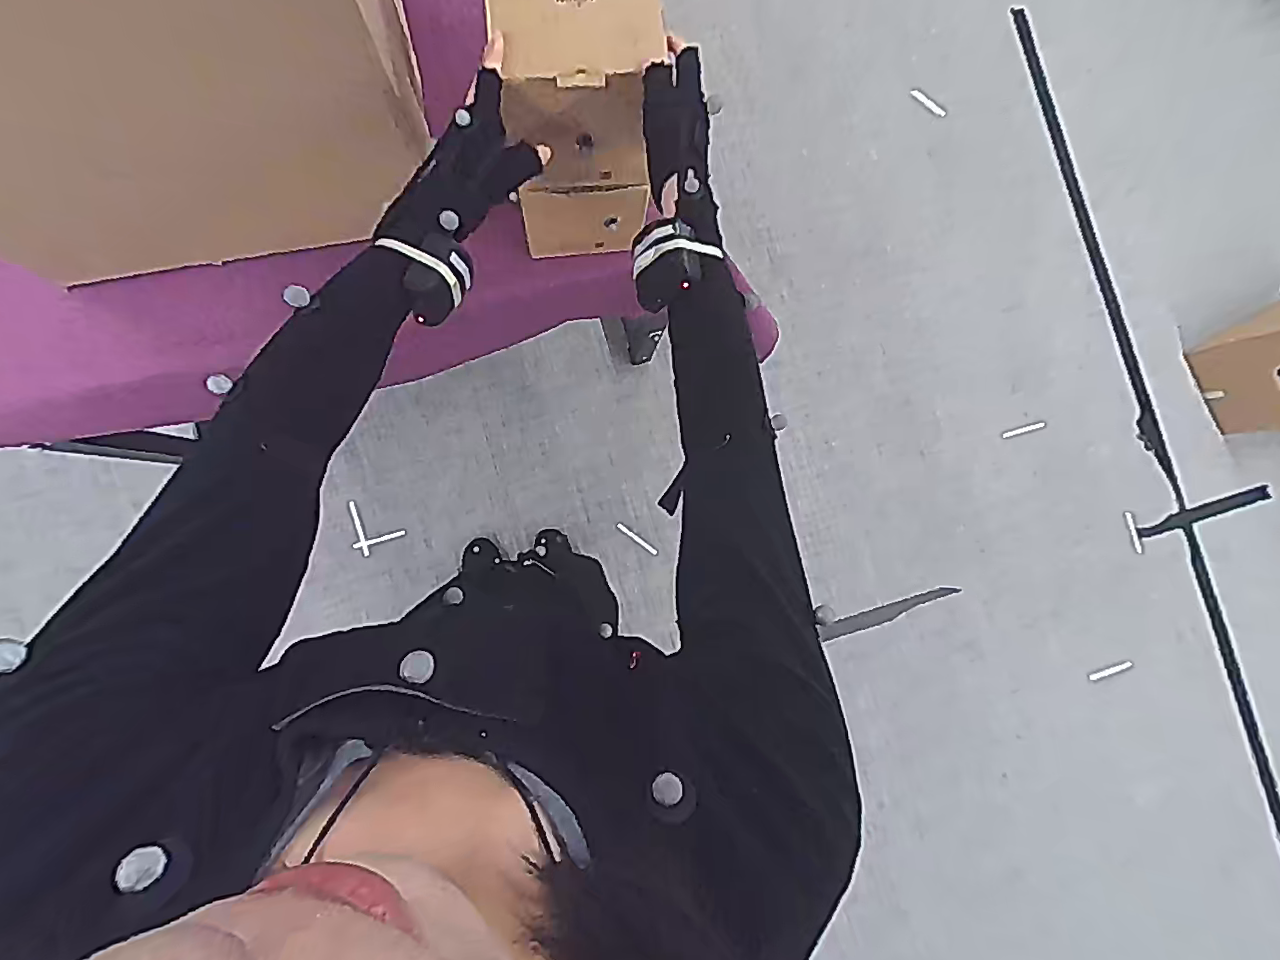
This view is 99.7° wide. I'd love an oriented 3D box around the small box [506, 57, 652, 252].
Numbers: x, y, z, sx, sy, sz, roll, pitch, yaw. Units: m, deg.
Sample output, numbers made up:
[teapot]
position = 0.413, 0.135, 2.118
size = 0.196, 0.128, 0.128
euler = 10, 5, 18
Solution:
[small box]
position = -0.083, -0.434, 0.749
size = 0.168, 0.176, 0.179
euler = -8, 86, -8
